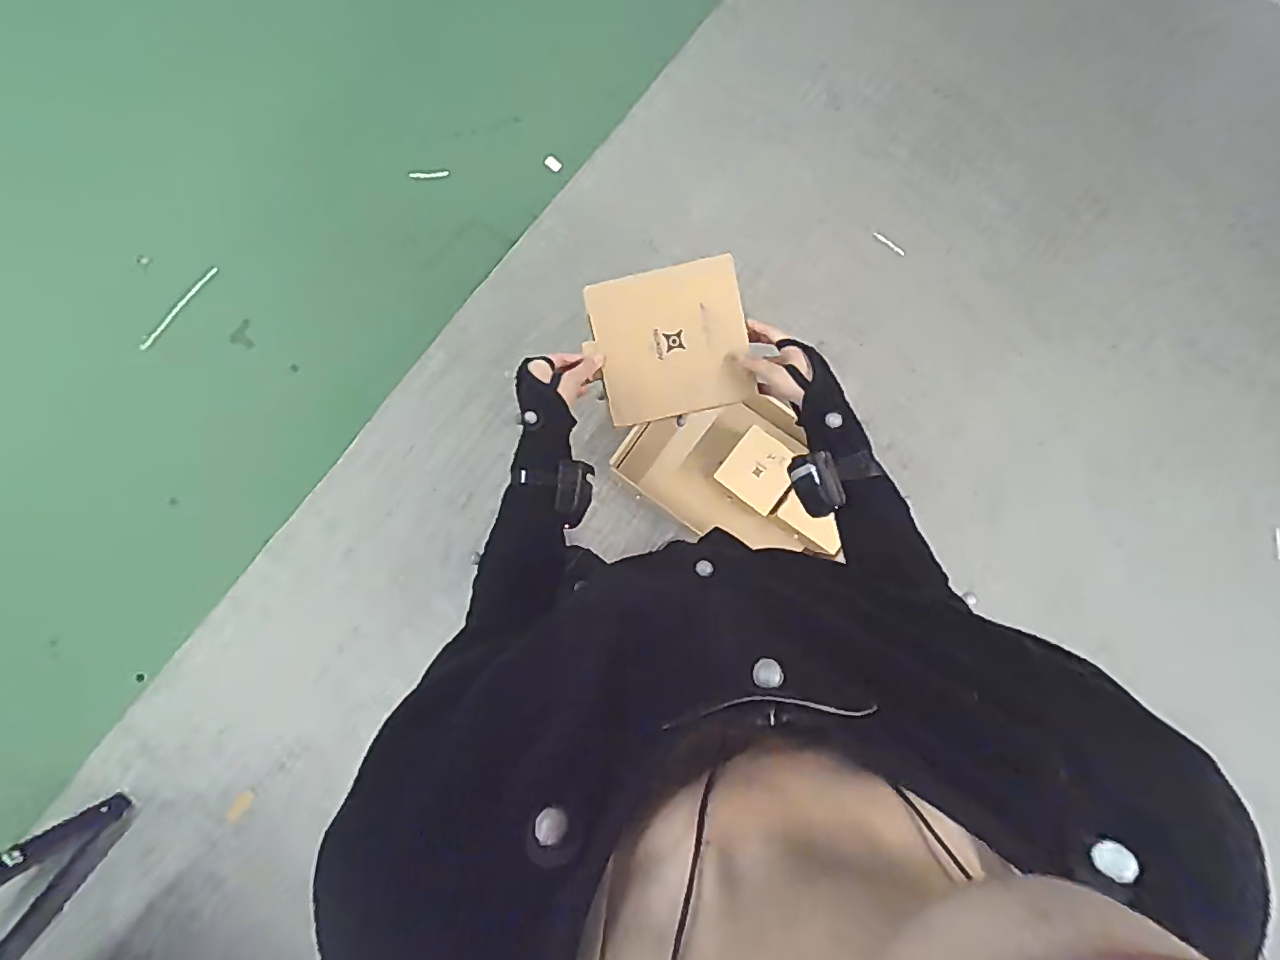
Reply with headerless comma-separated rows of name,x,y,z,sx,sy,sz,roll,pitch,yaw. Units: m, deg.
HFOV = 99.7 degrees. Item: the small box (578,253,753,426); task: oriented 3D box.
small box,0.032,-0.165,0.693,0.179,0.176,0.168,-12,95,2
